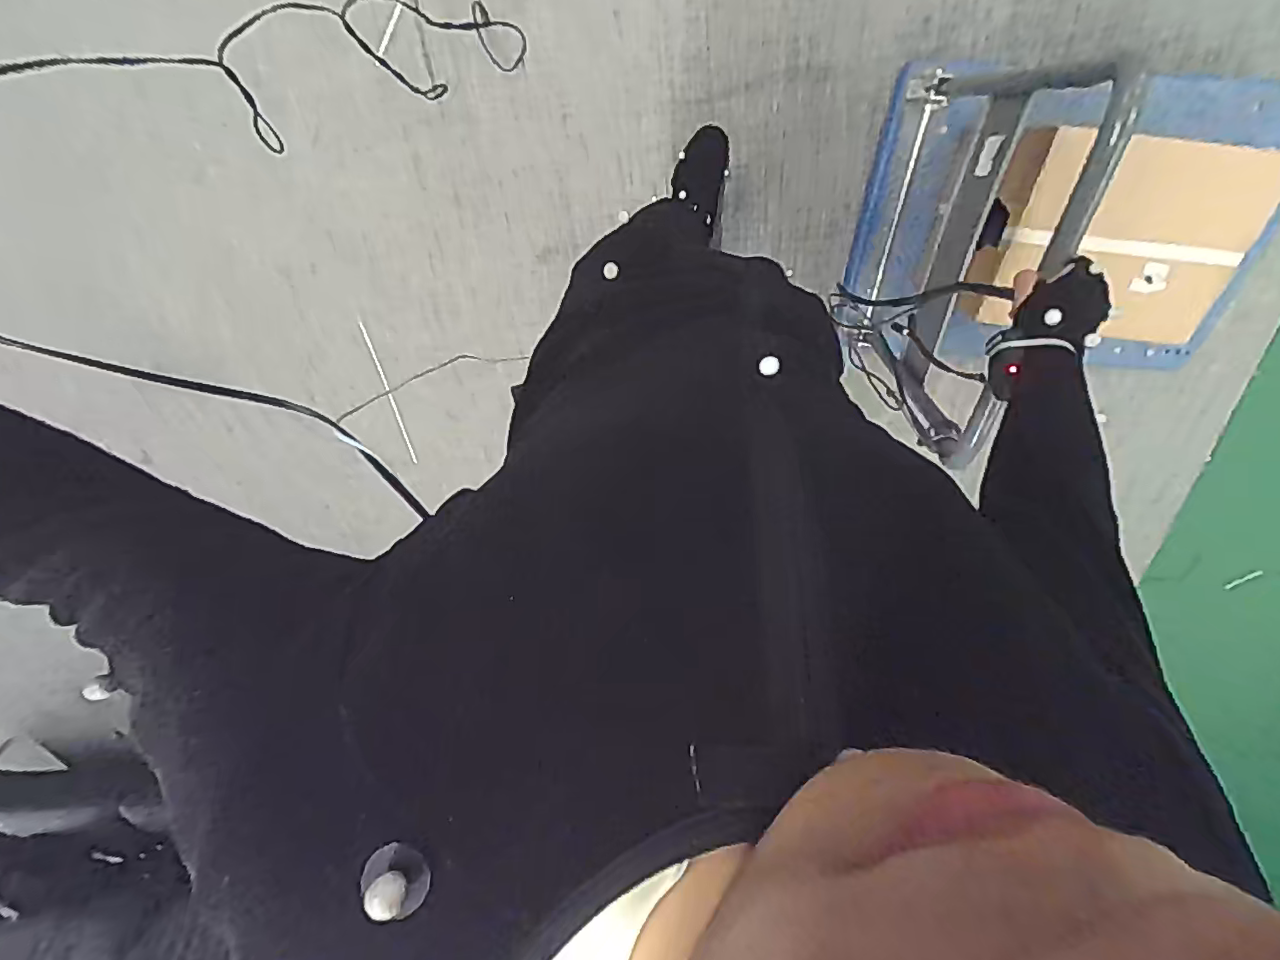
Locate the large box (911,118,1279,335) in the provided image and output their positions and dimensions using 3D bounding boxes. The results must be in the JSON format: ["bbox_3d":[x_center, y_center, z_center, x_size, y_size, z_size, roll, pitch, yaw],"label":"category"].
[{"bbox_3d":[0.825,-0.495,1.047,0.408,0.320,0.320,6,124,-2],"label":"large box"}]
